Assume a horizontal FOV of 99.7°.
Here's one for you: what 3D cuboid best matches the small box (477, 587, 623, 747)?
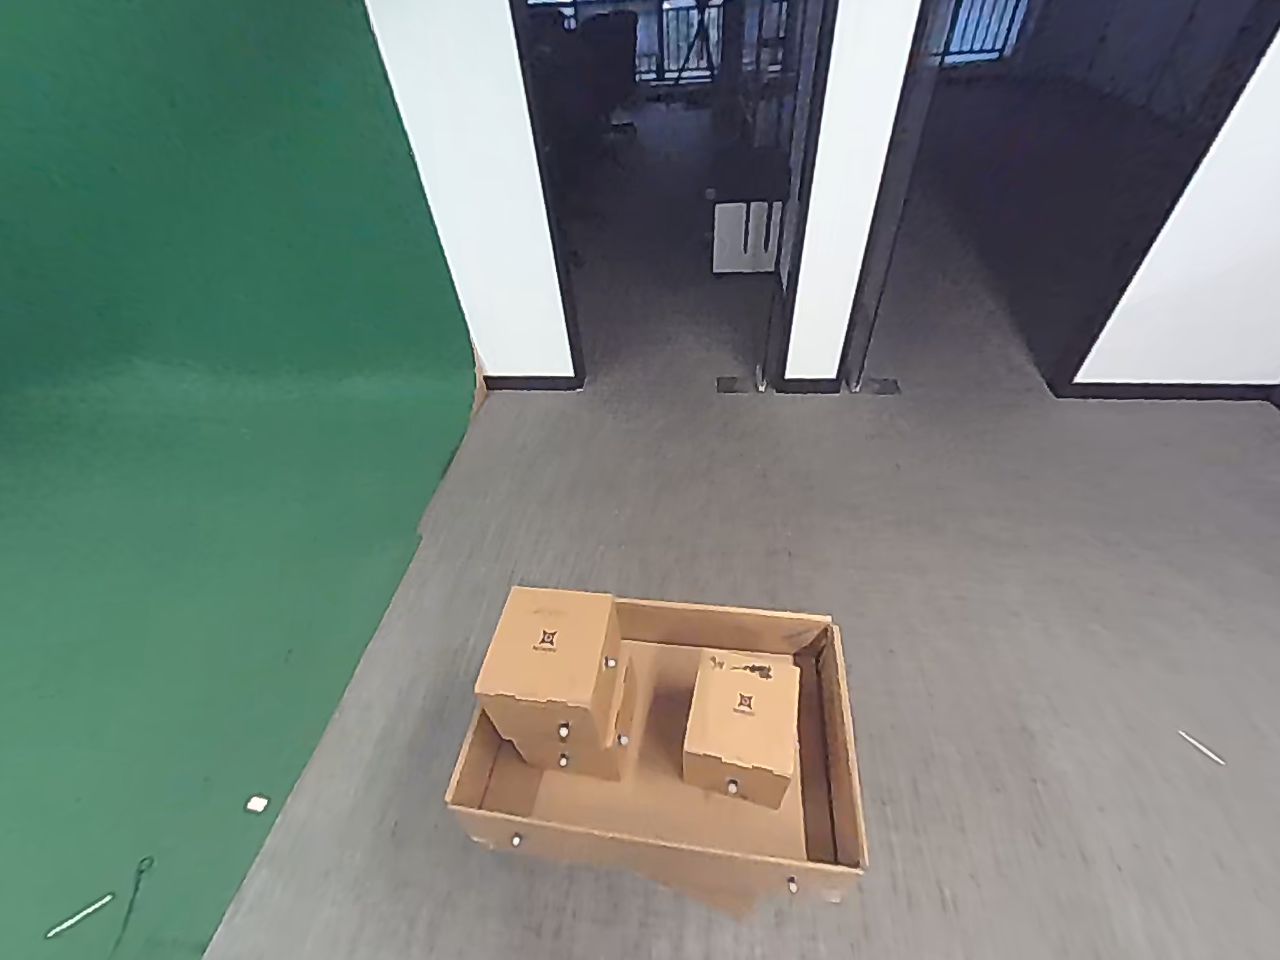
[{"bbox_3d":[-0.125,0.292,0.840,0.168,0.176,0.179,3,45,9],"label":"small box"}]
